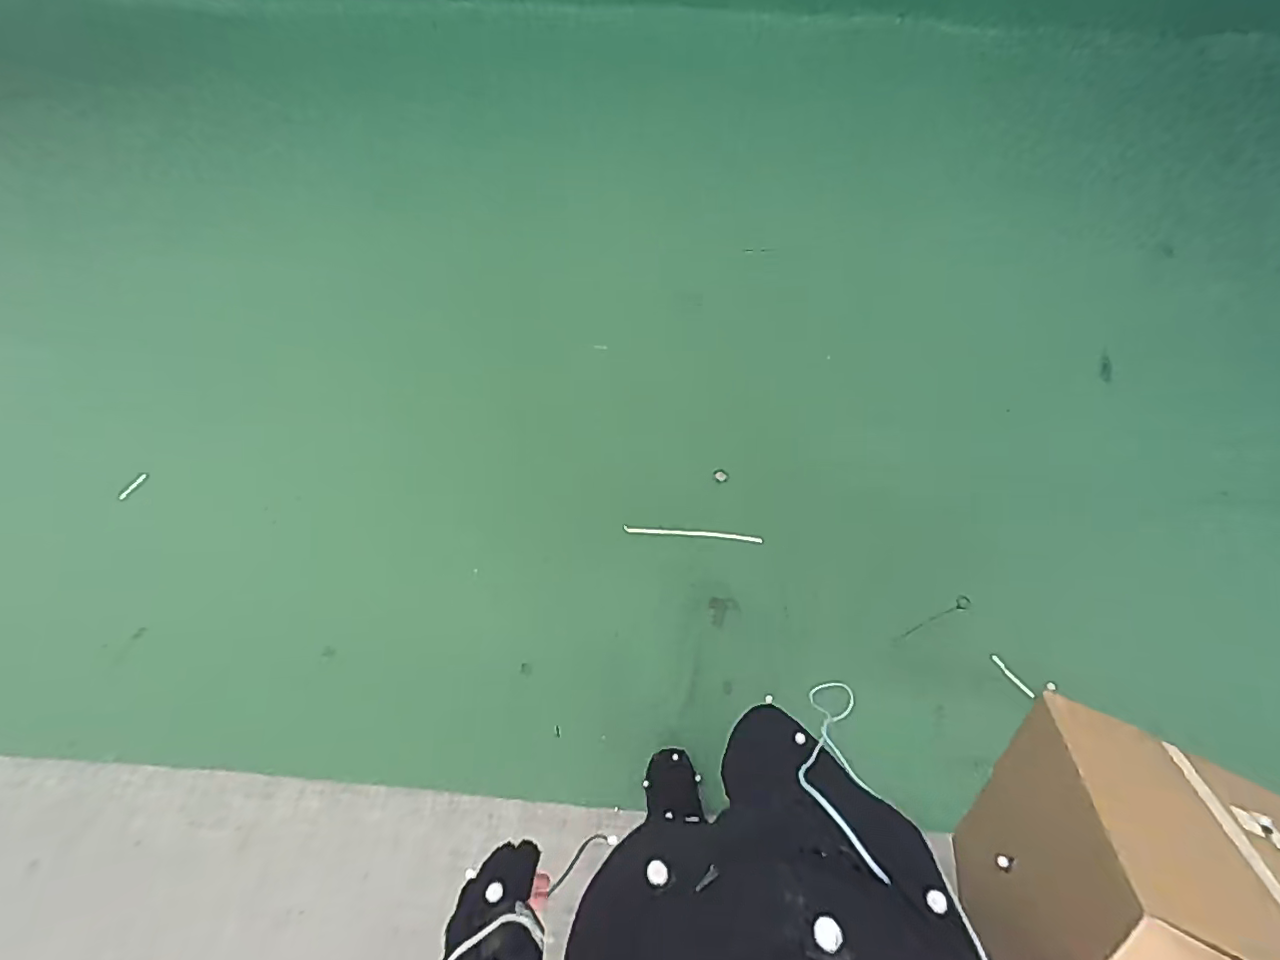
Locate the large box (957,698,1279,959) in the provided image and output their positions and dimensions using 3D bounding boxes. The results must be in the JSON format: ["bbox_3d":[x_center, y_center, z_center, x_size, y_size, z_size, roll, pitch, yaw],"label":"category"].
[{"bbox_3d":[0.617,0.554,0.639,0.320,0.408,0.320,24,107,21],"label":"large box"}]
